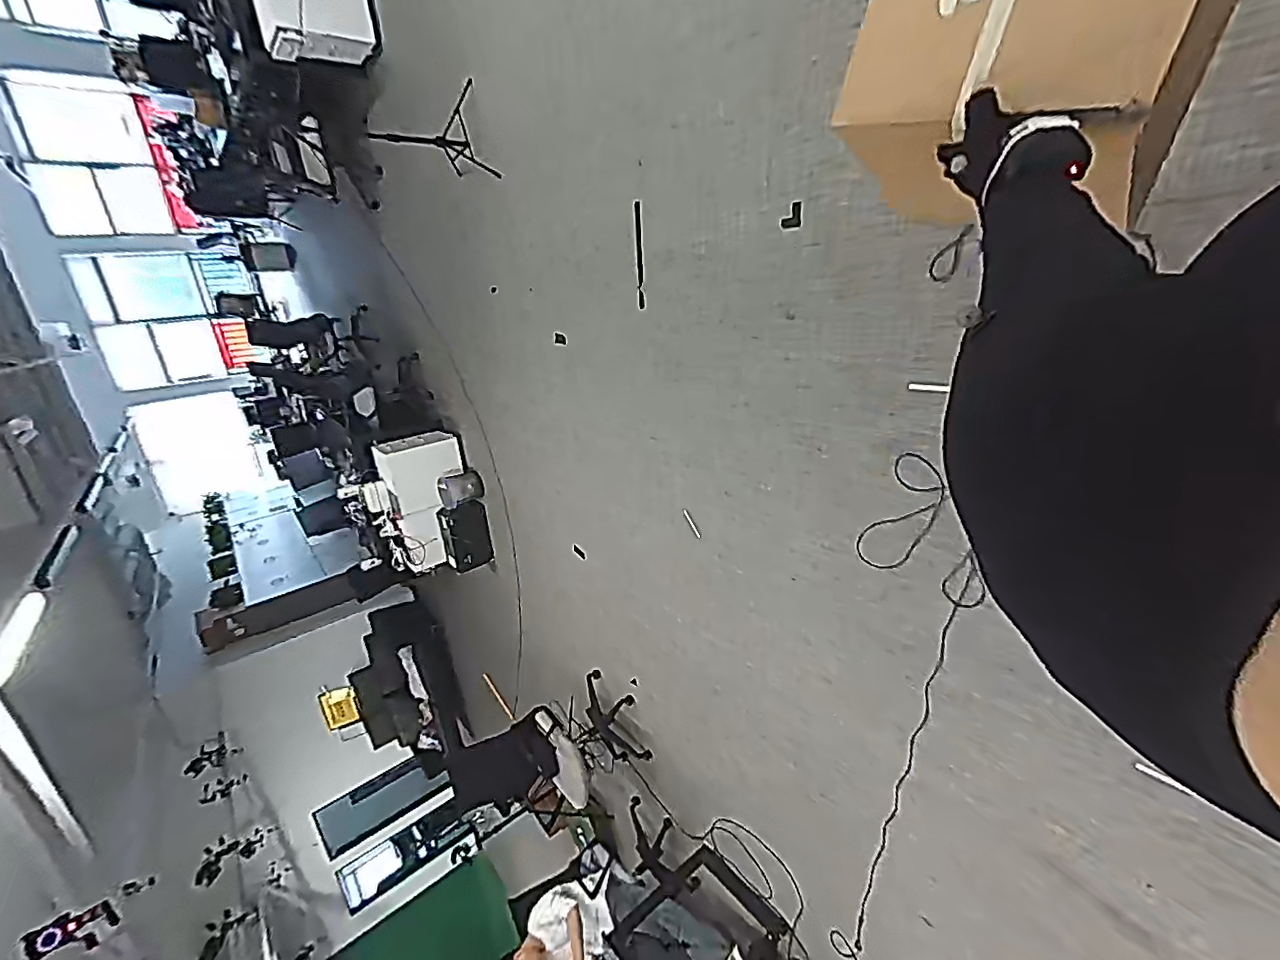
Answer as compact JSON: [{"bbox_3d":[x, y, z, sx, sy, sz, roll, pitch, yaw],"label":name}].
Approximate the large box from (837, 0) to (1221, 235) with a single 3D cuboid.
[{"bbox_3d":[0.505,-0.572,0.674,0.320,0.320,0.408,26,105,39],"label":"large box"}]
